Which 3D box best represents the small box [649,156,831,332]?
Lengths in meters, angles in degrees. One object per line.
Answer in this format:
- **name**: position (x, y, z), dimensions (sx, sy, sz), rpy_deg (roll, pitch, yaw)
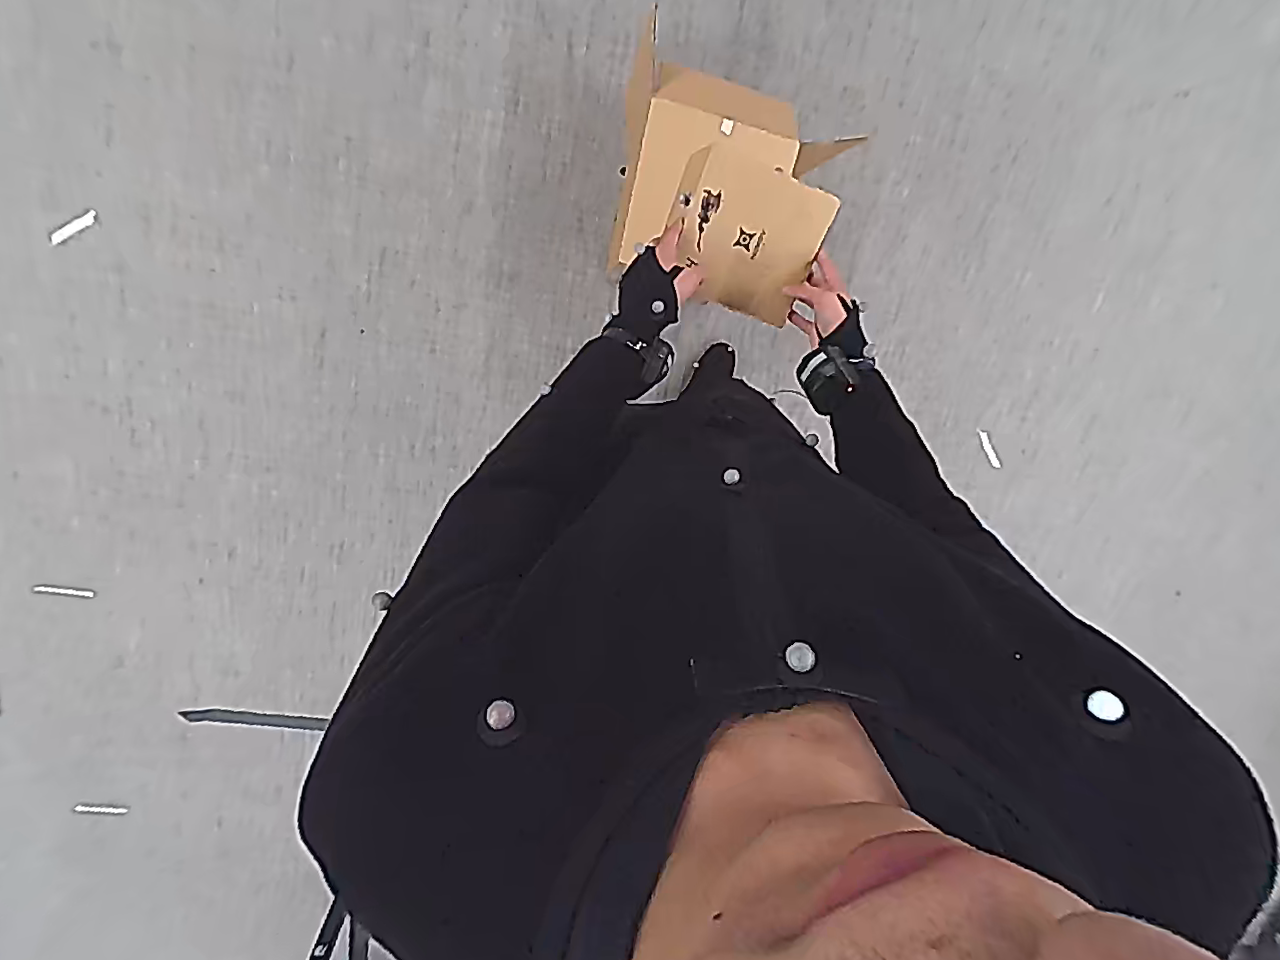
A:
- **small box**: position (0.125, -0.330, 0.756), dimensions (0.179, 0.176, 0.168), rpy_deg (16, 115, -13)
